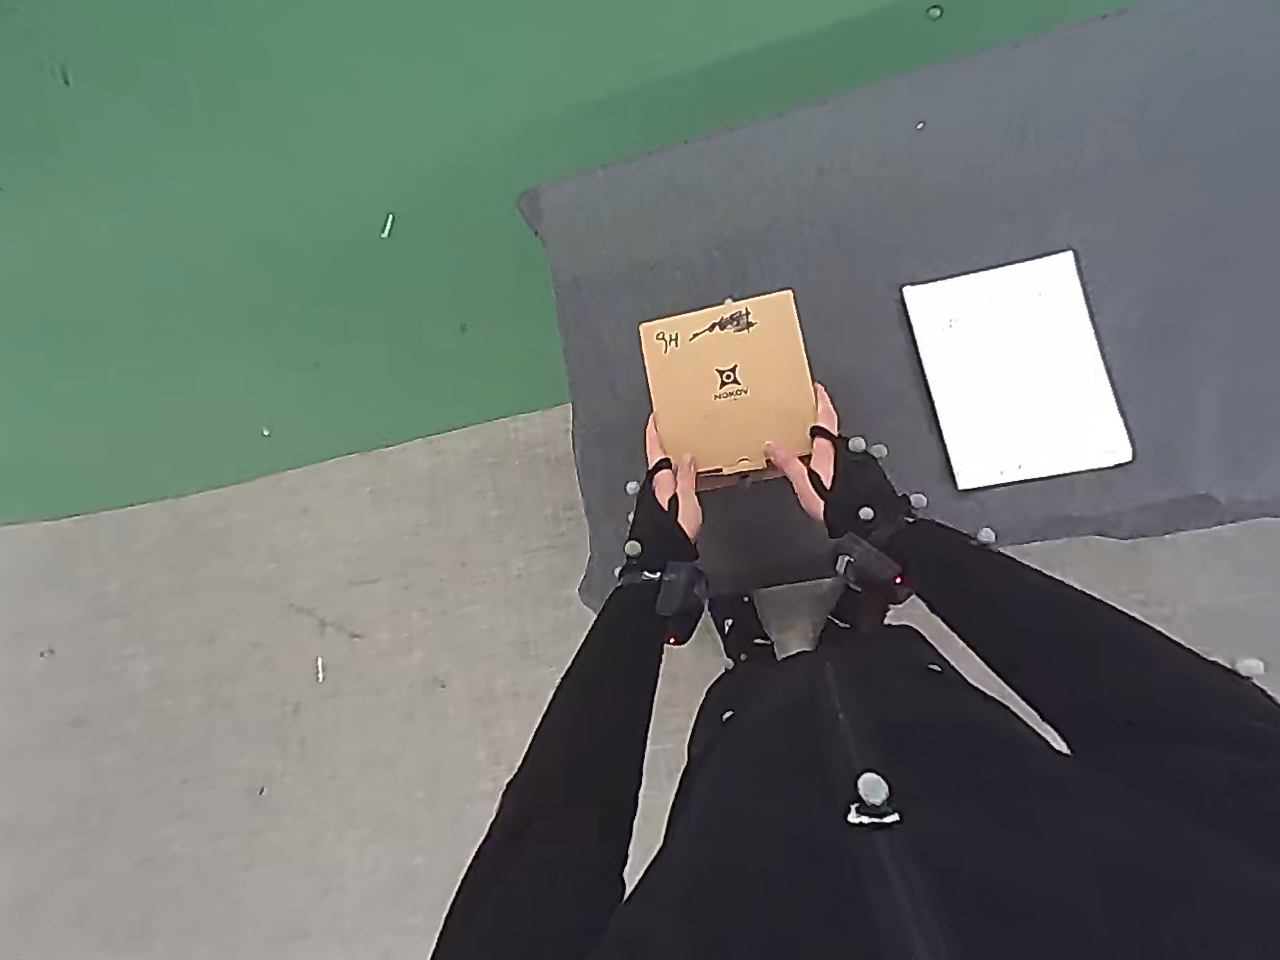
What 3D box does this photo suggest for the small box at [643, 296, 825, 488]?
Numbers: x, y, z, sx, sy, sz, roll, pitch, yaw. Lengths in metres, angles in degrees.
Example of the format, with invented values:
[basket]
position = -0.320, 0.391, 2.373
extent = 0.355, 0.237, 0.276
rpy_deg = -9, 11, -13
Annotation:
[small box]
position = 0.109, -0.088, 0.642
extent = 0.168, 0.176, 0.179
rpy_deg = -11, 84, 8
